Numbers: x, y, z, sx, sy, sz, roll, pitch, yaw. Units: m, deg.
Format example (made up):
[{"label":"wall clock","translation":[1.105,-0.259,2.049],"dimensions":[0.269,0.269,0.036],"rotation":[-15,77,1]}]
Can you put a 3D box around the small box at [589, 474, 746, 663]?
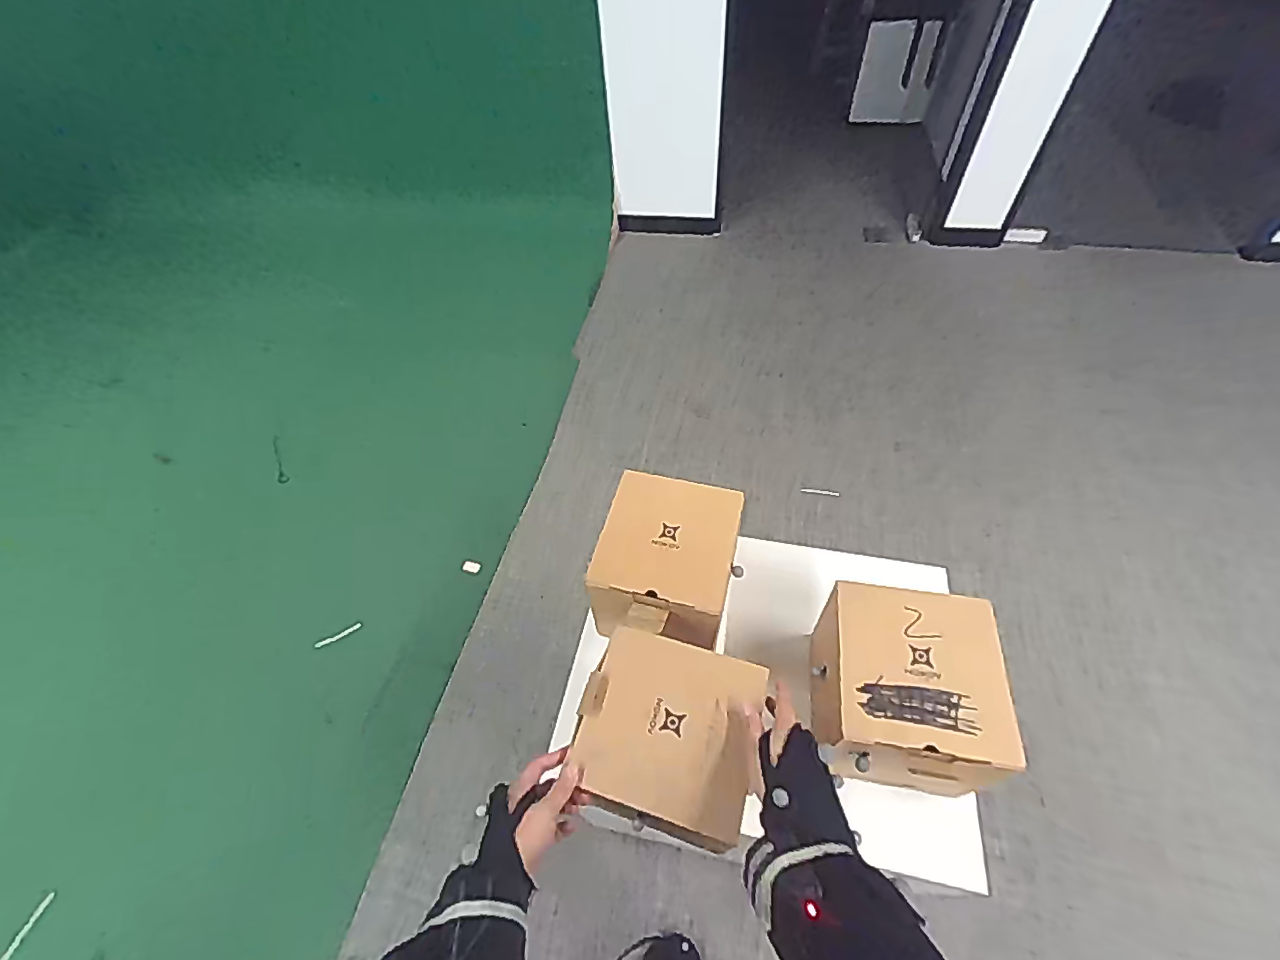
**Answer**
[{"label":"small box","translation":[0.041,0.122,0.734],"dimensions":[0.168,0.176,0.179],"rotation":[11,55,11]}]
